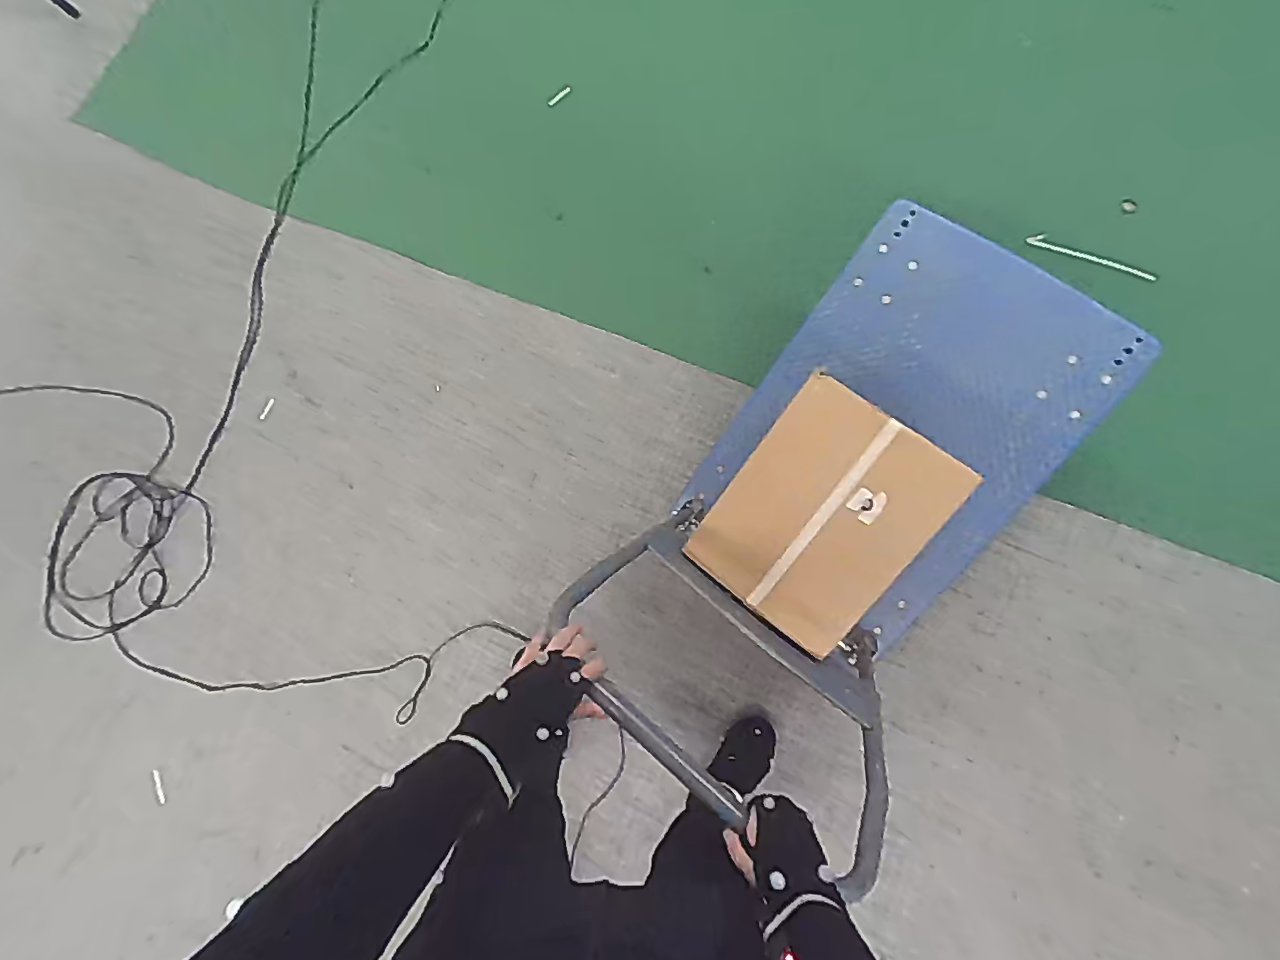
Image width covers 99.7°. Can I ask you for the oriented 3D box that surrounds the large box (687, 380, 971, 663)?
[{"bbox_3d":[0.355,0.071,1.080,0.320,0.320,0.408,38,103,13],"label":"large box"}]
